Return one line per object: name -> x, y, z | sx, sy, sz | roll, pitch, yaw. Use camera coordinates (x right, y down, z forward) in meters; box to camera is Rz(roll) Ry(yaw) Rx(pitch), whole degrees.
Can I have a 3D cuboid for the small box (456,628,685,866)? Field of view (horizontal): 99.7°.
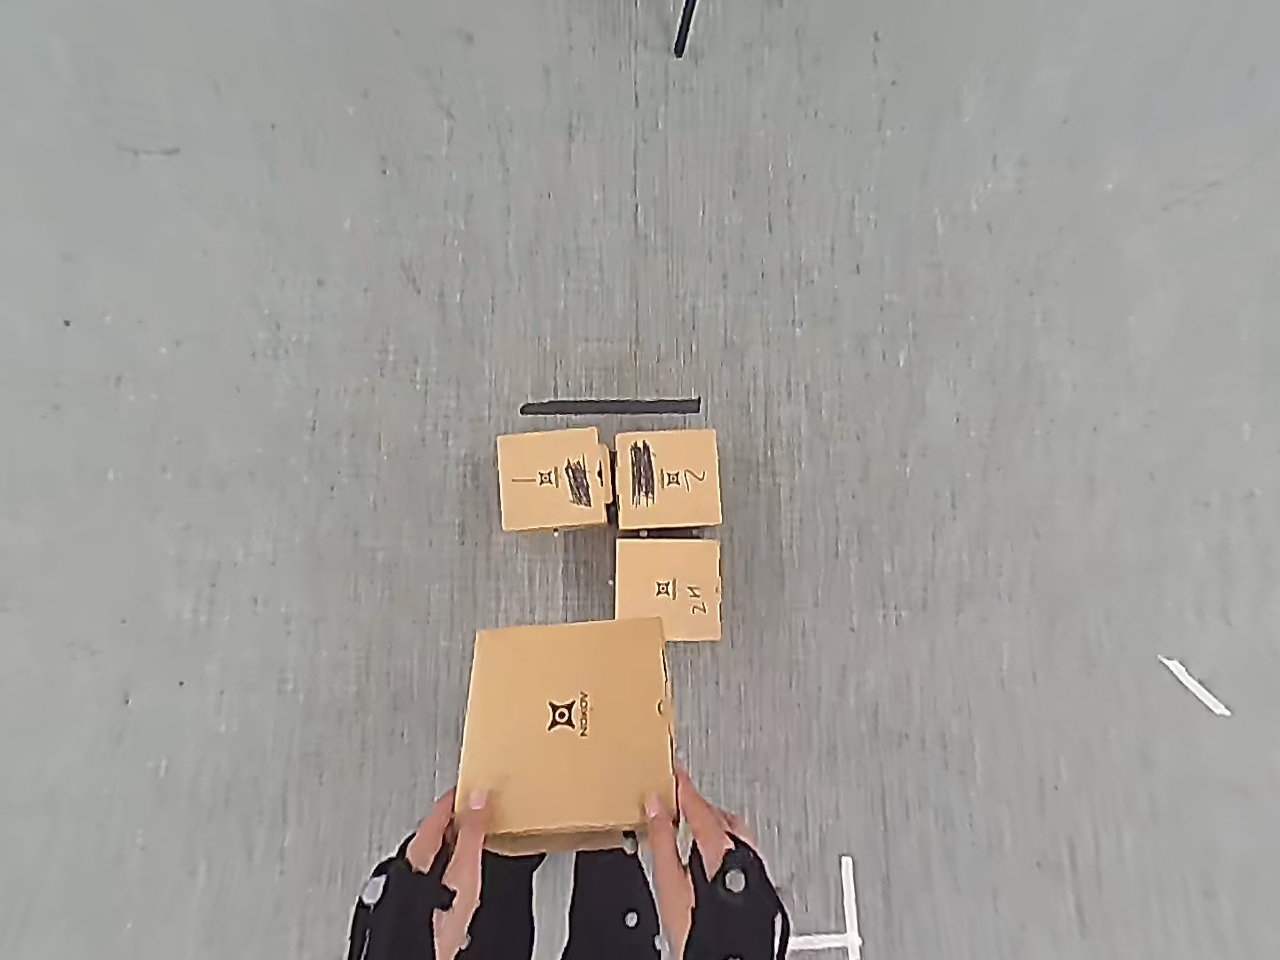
small box -> -0.051, 0.257, 0.513 | 0.179, 0.176, 0.168 | -4, 52, 0
